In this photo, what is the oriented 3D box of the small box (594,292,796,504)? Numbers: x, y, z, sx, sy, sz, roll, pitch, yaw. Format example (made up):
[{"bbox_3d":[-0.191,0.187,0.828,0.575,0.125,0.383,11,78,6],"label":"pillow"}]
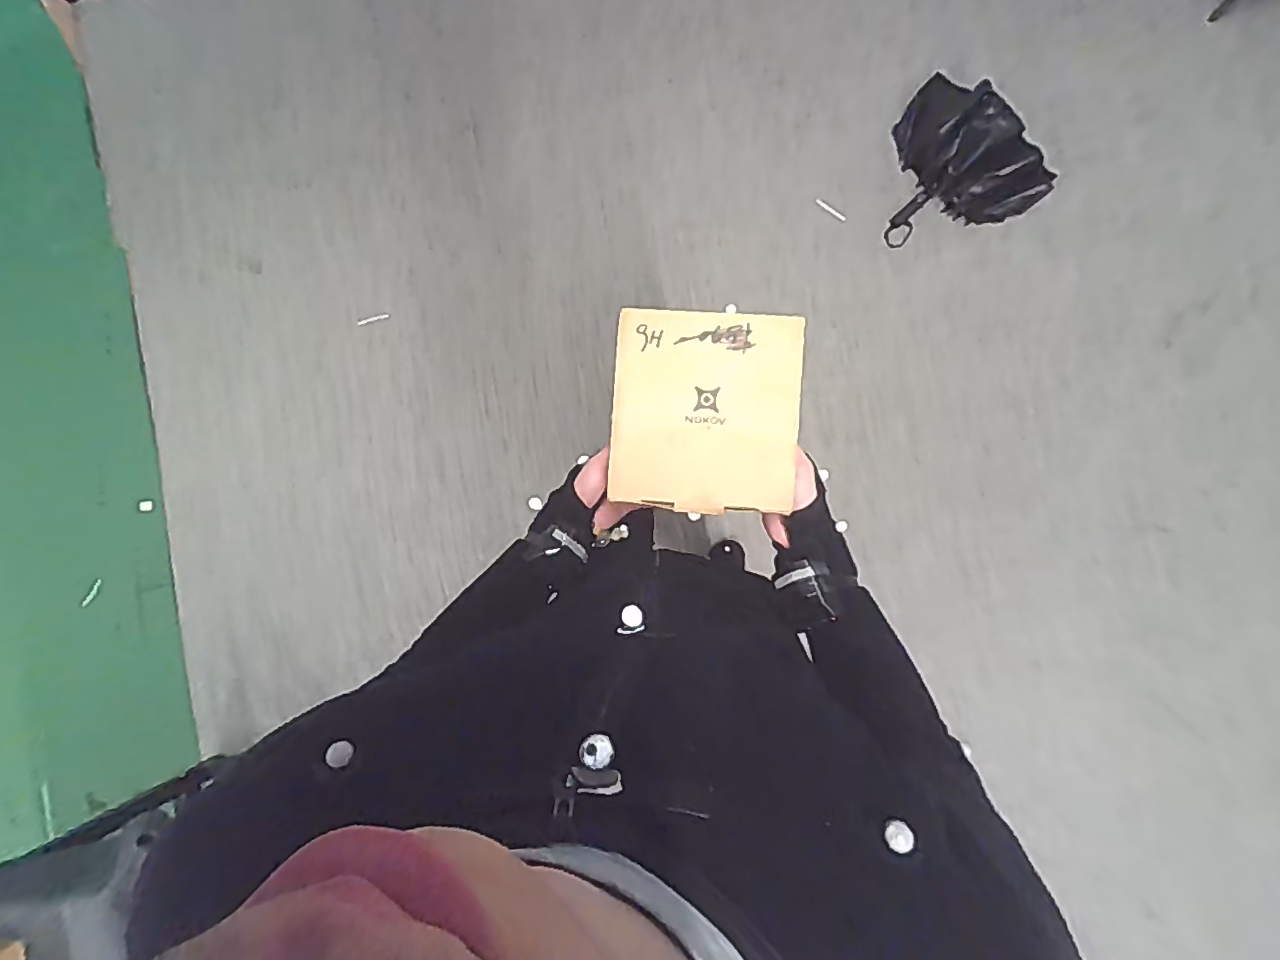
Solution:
[{"bbox_3d":[0.052,-0.073,0.549,0.168,0.176,0.179,4,90,3],"label":"small box"}]
